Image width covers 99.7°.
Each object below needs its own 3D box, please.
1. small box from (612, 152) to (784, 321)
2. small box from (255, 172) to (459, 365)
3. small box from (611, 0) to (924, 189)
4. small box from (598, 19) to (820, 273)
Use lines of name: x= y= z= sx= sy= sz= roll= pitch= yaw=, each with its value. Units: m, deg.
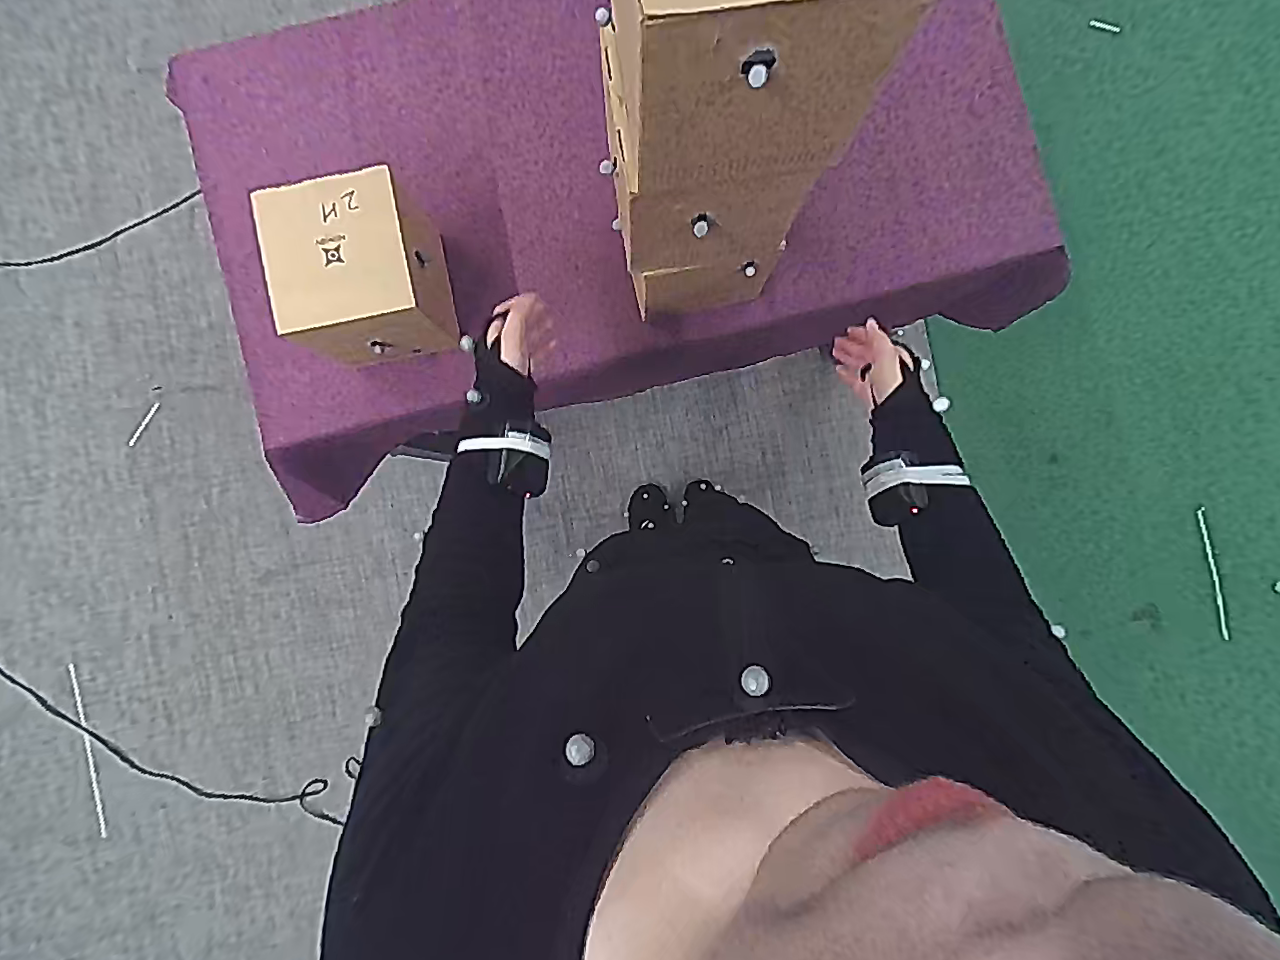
small box: x=0.069 y=-0.325 z=0.711 sx=0.179 sy=0.176 sz=0.168 roll=-13 pitch=88 yaw=-1
small box: x=-0.353 y=-0.259 z=0.709 sx=0.168 sy=0.176 sz=0.179 roll=-12 pitch=88 yaw=-1
small box: x=0.071 y=-0.335 z=0.382 sx=0.179 sy=0.176 sz=0.168 roll=-9 pitch=88 yaw=-1
small box: x=0.062 y=-0.329 z=0.547 sx=0.179 sy=0.176 sz=0.168 roll=-9 pitch=88 yaw=0
